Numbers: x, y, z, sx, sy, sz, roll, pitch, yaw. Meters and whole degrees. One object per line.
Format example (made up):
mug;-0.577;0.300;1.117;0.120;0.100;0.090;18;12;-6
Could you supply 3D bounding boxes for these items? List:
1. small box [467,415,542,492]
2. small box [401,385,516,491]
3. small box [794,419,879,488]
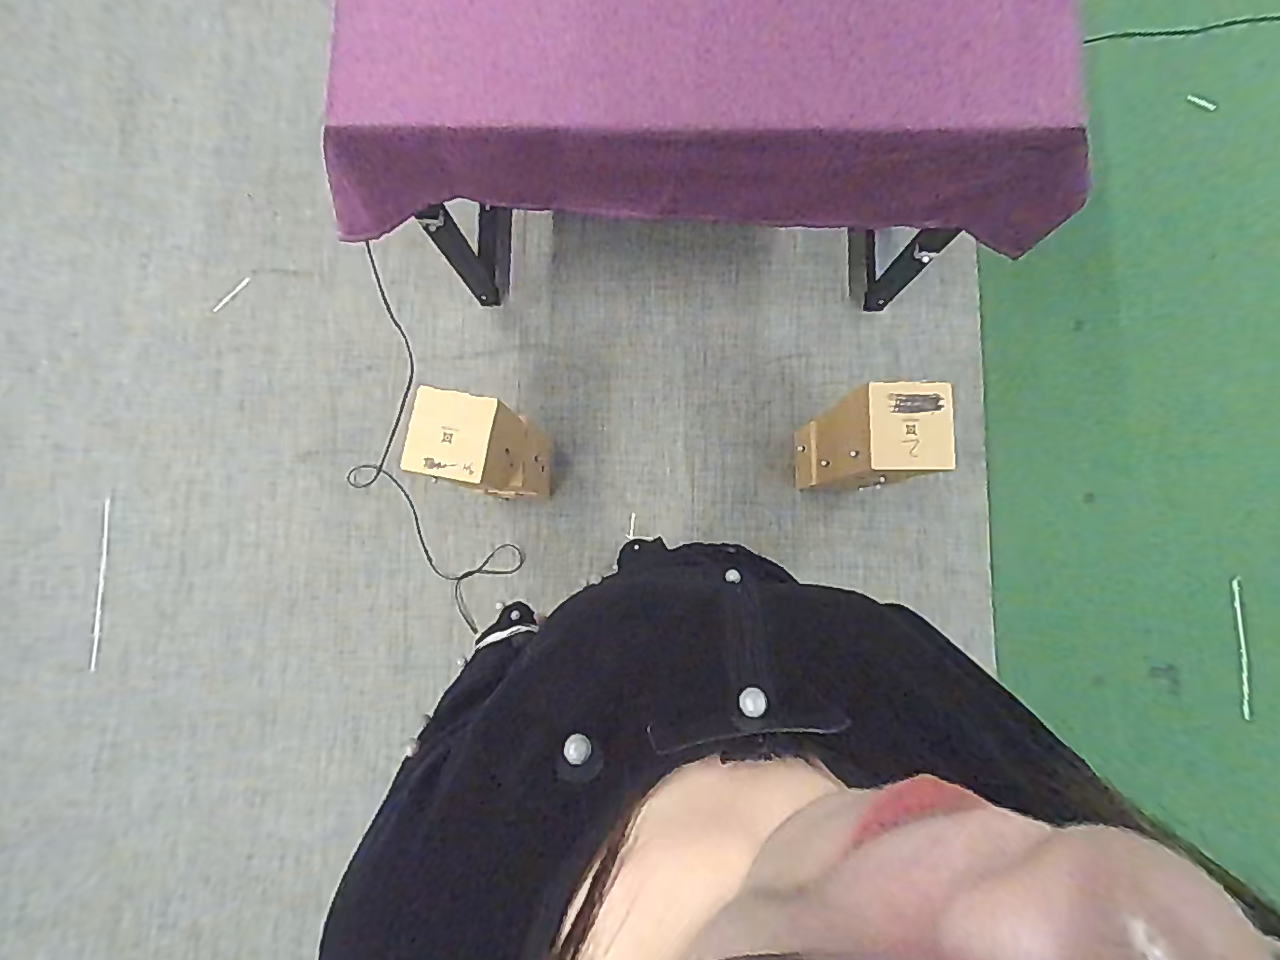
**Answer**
small box;-0.346;-0.062;1.305;0.179;0.176;0.168;3;84;1
small box;-0.372;-0.081;1.143;0.168;0.176;0.179;10;84;3
small box;0.519;-0.067;1.455;0.179;0.176;0.168;-1;85;0
